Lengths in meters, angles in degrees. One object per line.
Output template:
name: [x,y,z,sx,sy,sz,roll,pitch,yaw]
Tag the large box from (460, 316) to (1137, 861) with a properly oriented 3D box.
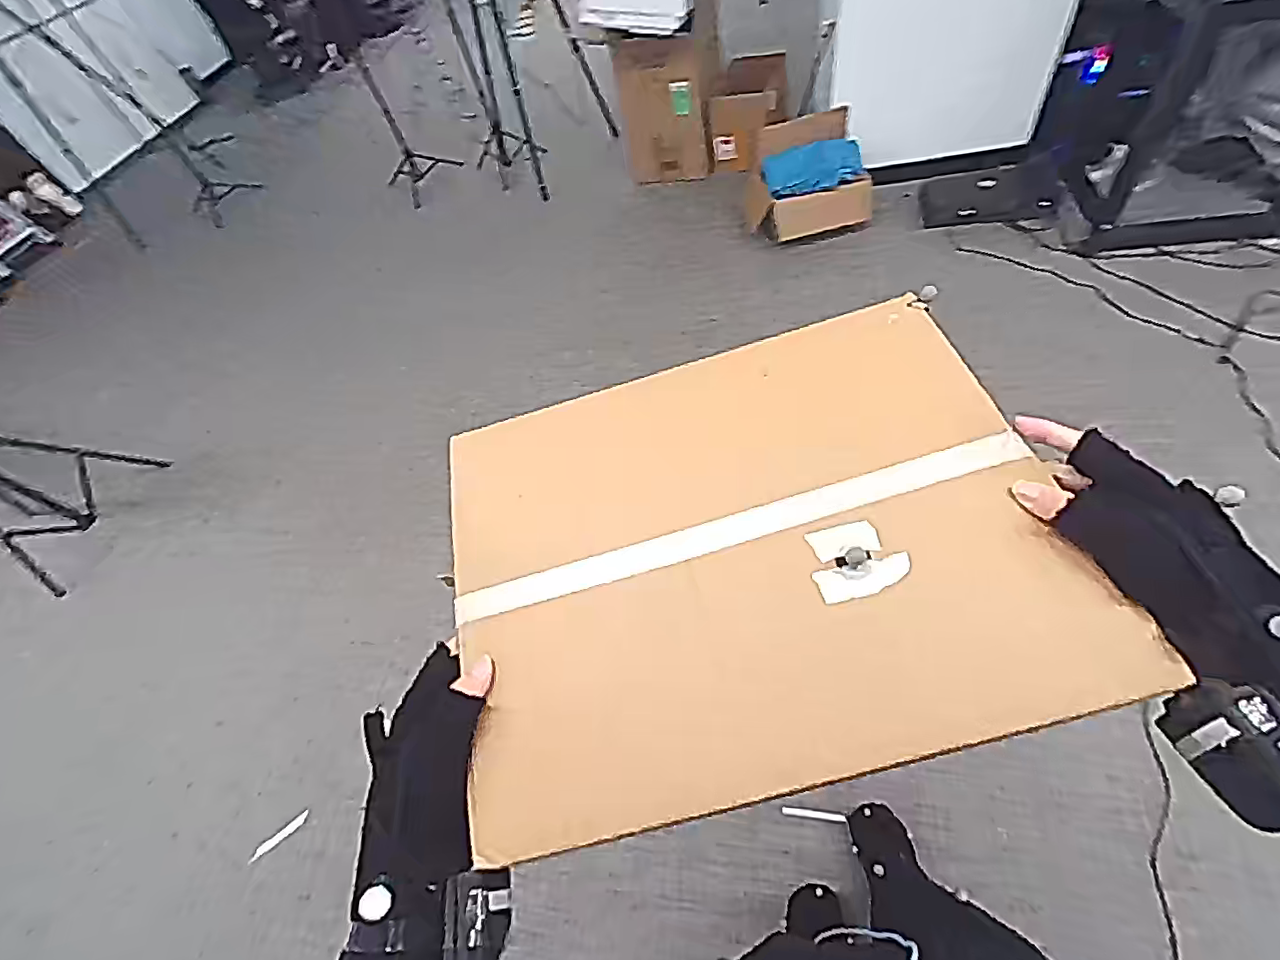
large box: [0.091,0.116,0.520,0.408,0.320,0.320,-18,59,2]
